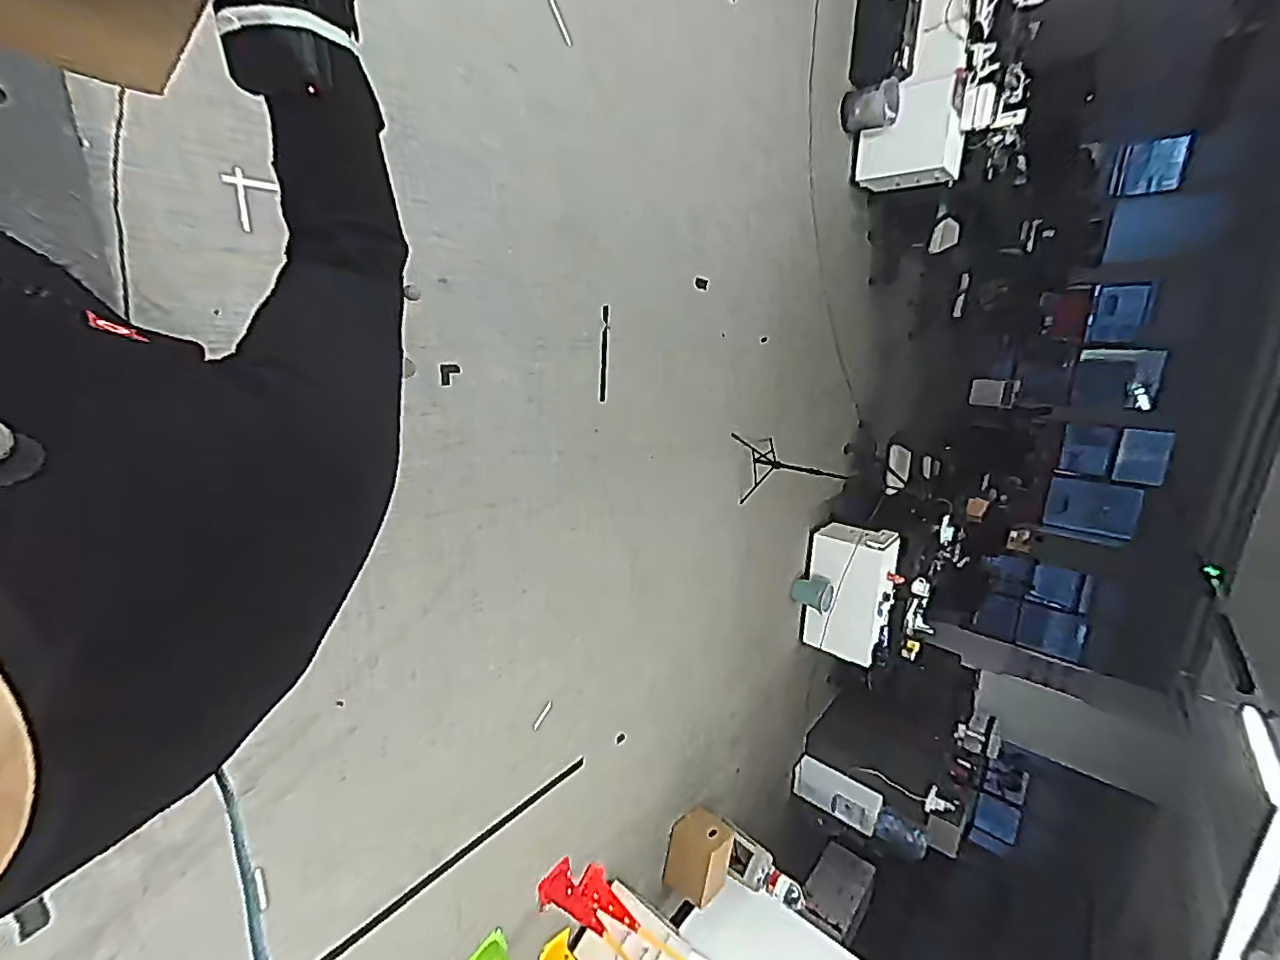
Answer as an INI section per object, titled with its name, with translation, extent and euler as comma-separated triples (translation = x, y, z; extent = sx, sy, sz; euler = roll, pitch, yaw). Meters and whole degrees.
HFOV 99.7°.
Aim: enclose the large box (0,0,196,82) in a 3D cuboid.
[large box]
translation = -0.481, -0.470, 0.242
extent = 0.408, 0.320, 0.320
euler = -14, 108, -48
